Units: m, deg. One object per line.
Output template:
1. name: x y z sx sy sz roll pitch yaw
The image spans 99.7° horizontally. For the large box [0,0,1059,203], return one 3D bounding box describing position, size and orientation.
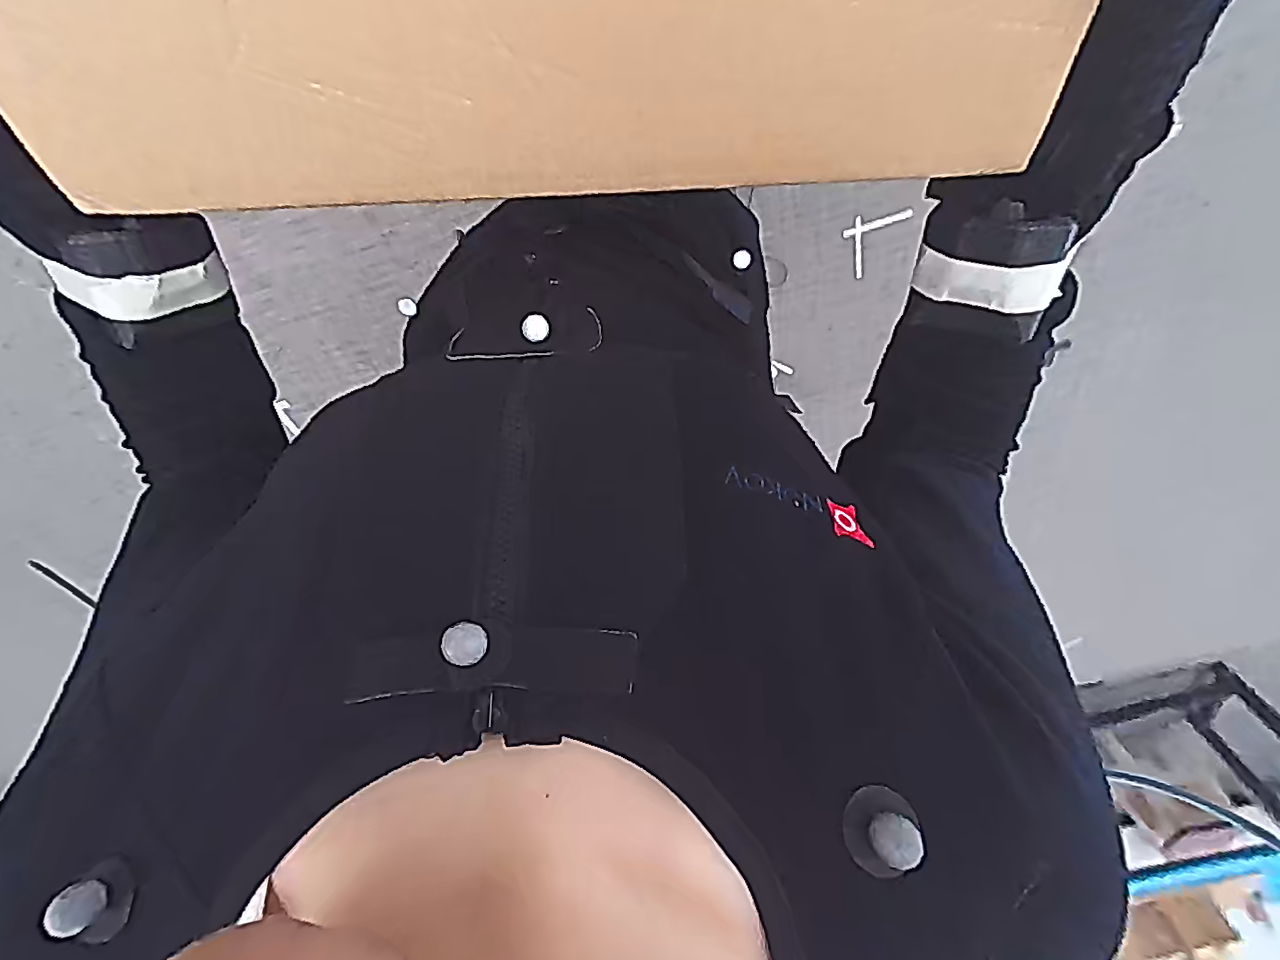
1. large box: -0.048 -0.346 0.230 0.408 0.320 0.320 -1 136 2
